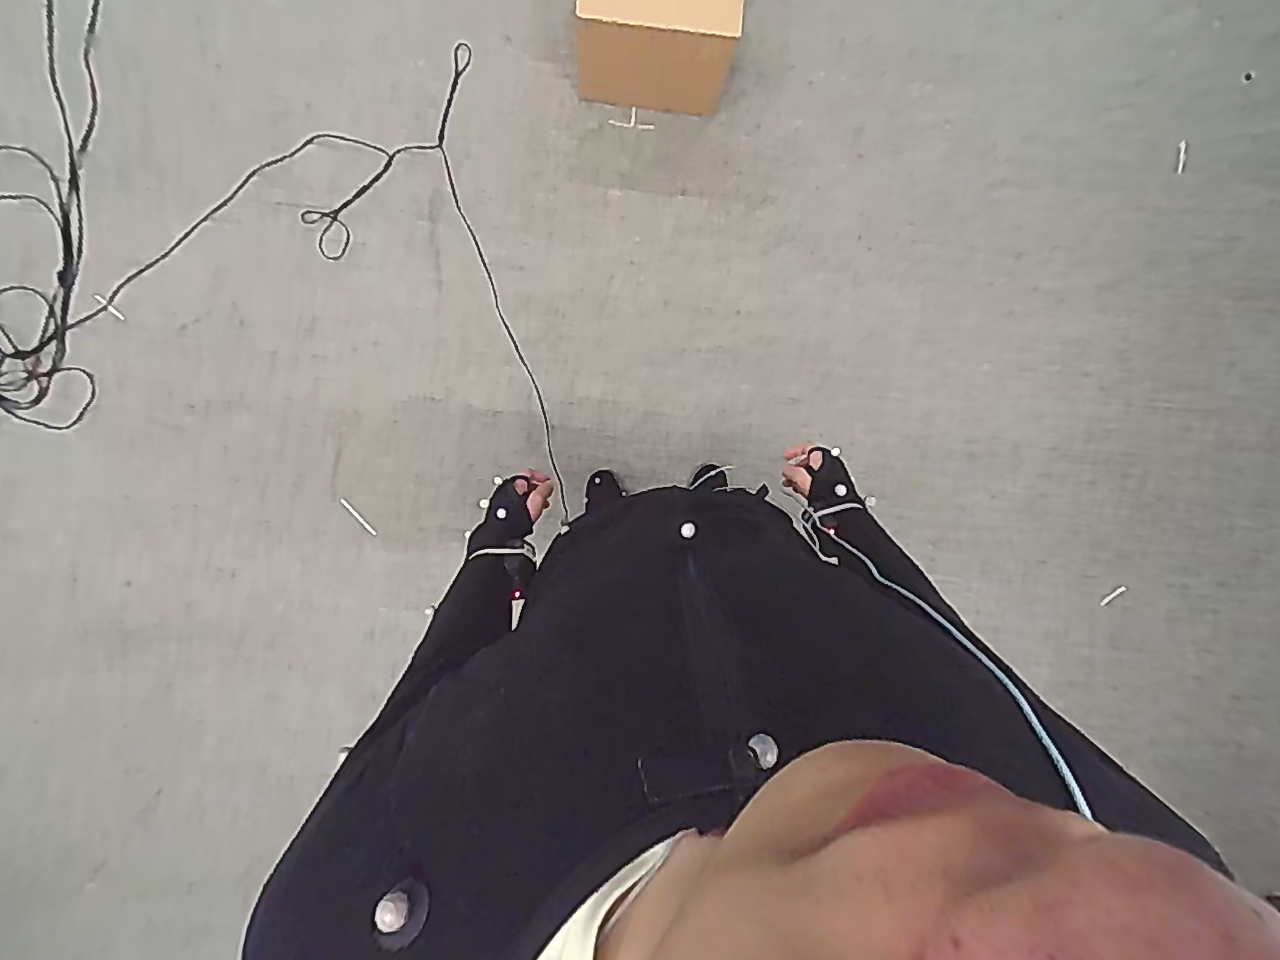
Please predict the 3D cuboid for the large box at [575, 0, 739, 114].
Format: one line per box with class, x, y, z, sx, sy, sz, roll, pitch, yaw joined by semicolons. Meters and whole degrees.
large box;0.034;-1.246;1.453;0.408;0.320;0.320;3;92;-5
